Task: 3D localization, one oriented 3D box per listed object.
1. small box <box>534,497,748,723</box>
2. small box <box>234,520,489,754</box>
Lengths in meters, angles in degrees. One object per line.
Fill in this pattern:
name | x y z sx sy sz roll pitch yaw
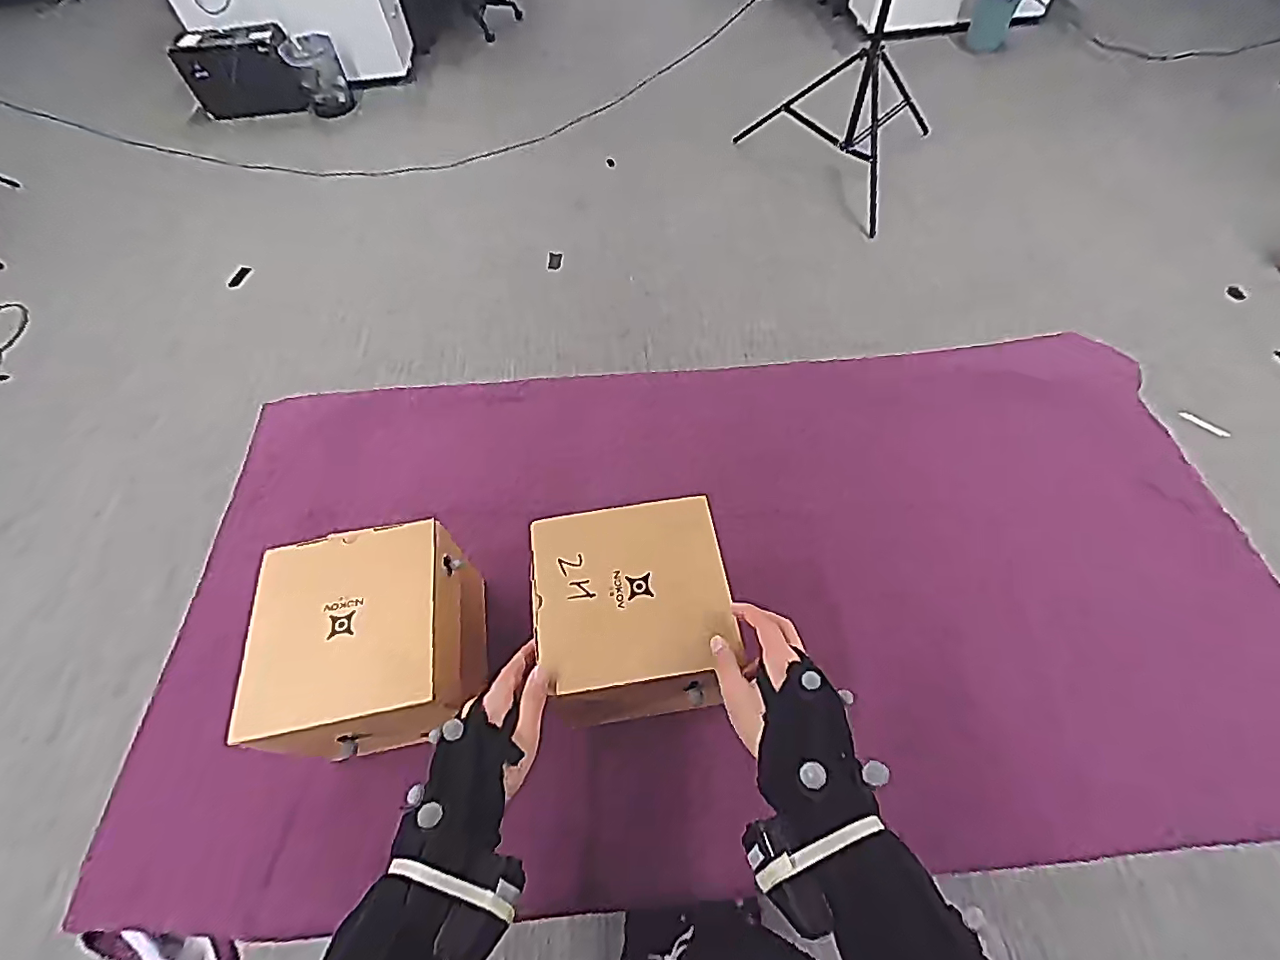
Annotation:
small box | -0.004 0.138 0.552 0.179 0.176 0.168 -9 57 -2
small box | -0.259 0.167 0.550 0.168 0.176 0.179 -11 57 -4
